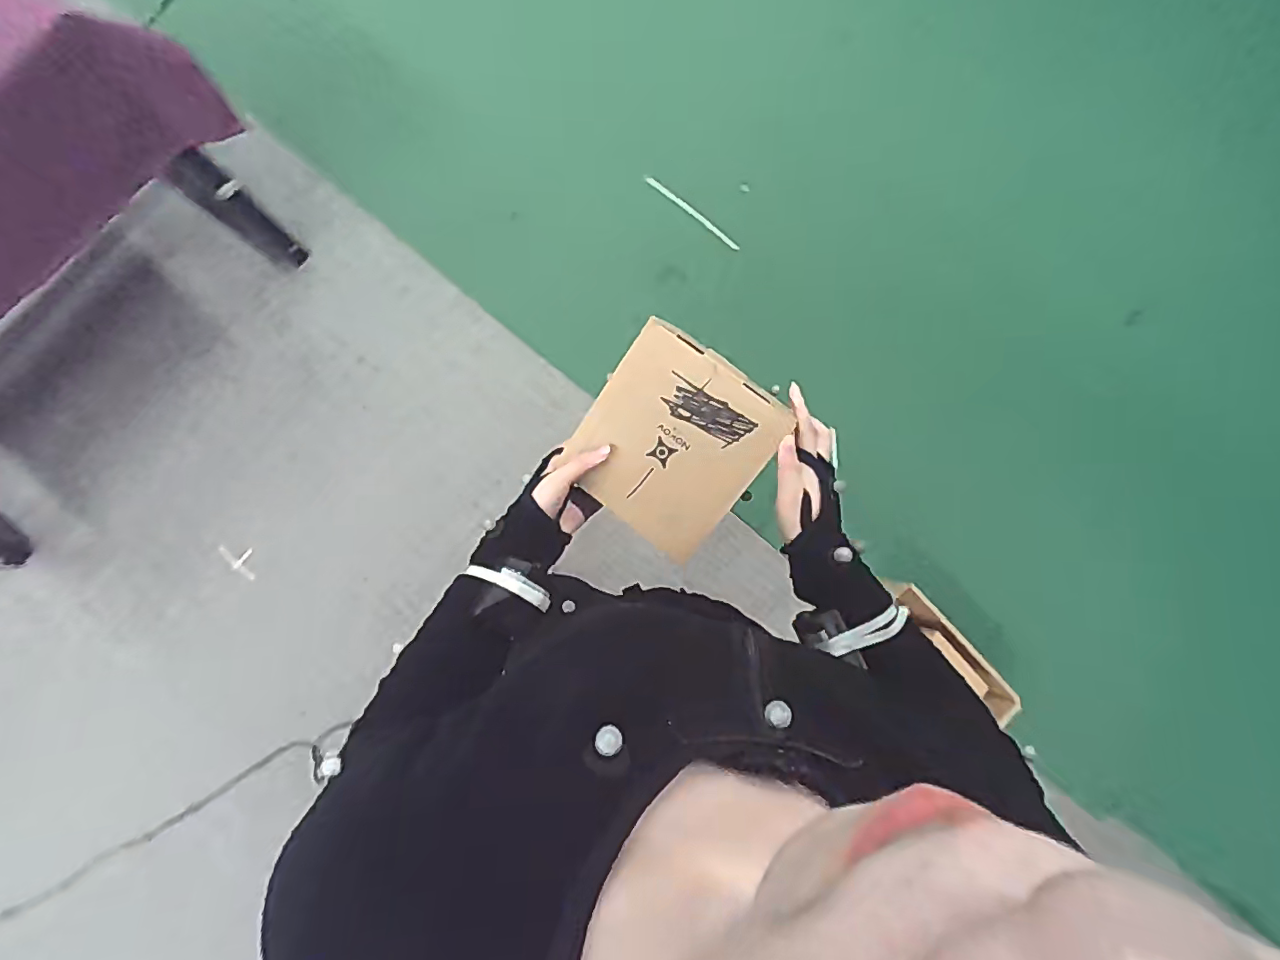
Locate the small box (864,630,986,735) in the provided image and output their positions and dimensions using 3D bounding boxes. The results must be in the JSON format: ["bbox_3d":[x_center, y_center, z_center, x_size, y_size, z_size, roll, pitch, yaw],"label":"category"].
[{"bbox_3d":[0.701,0.496,1.357,0.168,0.176,0.179,-39,84,-5],"label":"small box"}]
